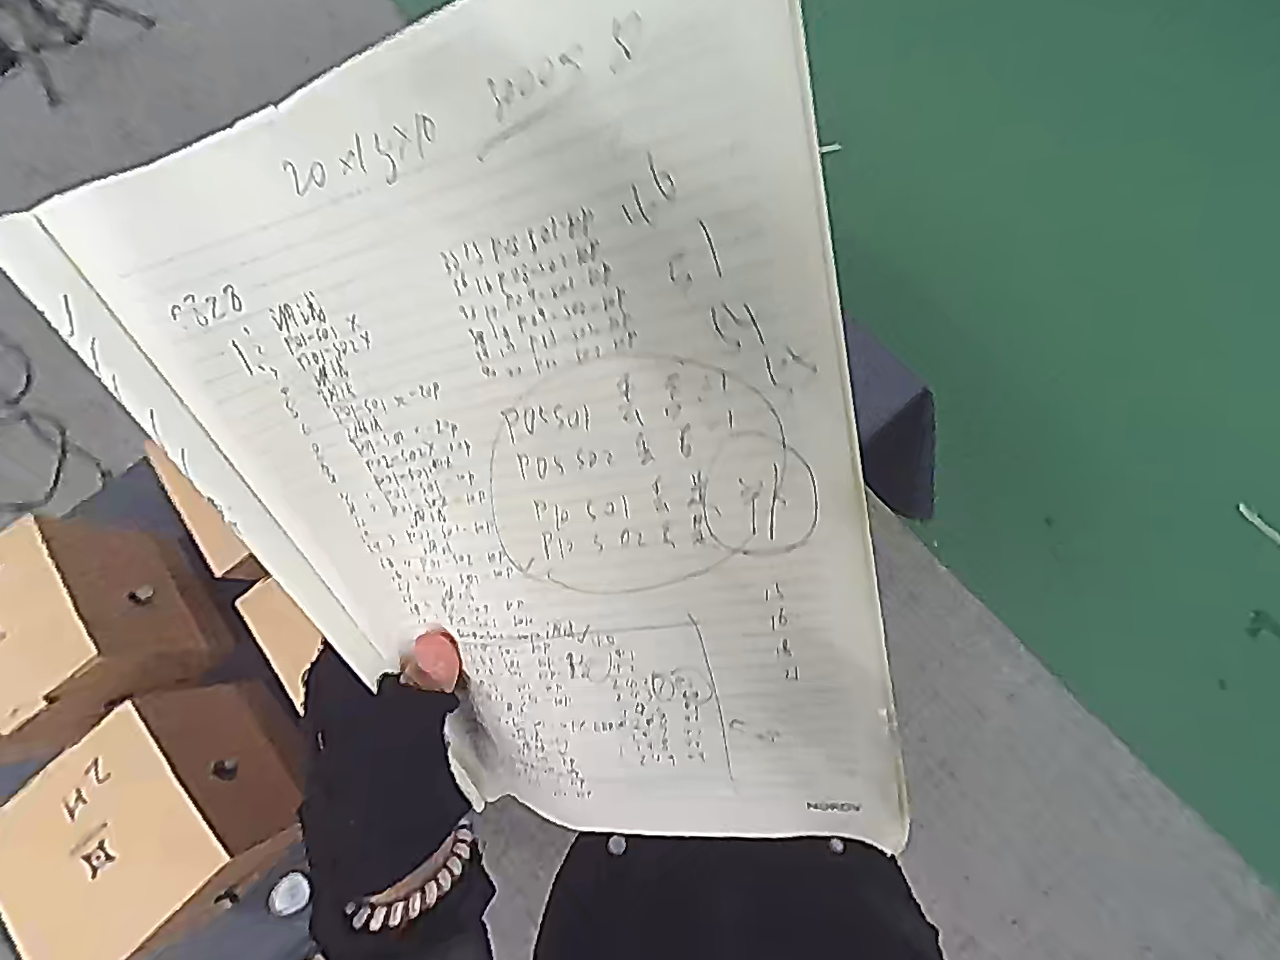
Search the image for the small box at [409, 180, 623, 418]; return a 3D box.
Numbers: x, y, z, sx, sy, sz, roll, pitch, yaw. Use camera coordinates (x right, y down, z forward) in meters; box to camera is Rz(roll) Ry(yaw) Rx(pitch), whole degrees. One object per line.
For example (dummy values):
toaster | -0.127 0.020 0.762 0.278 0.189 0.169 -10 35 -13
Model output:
small box | -0.134 -0.207 0.660 0.179 0.176 0.168 -40 78 -7
